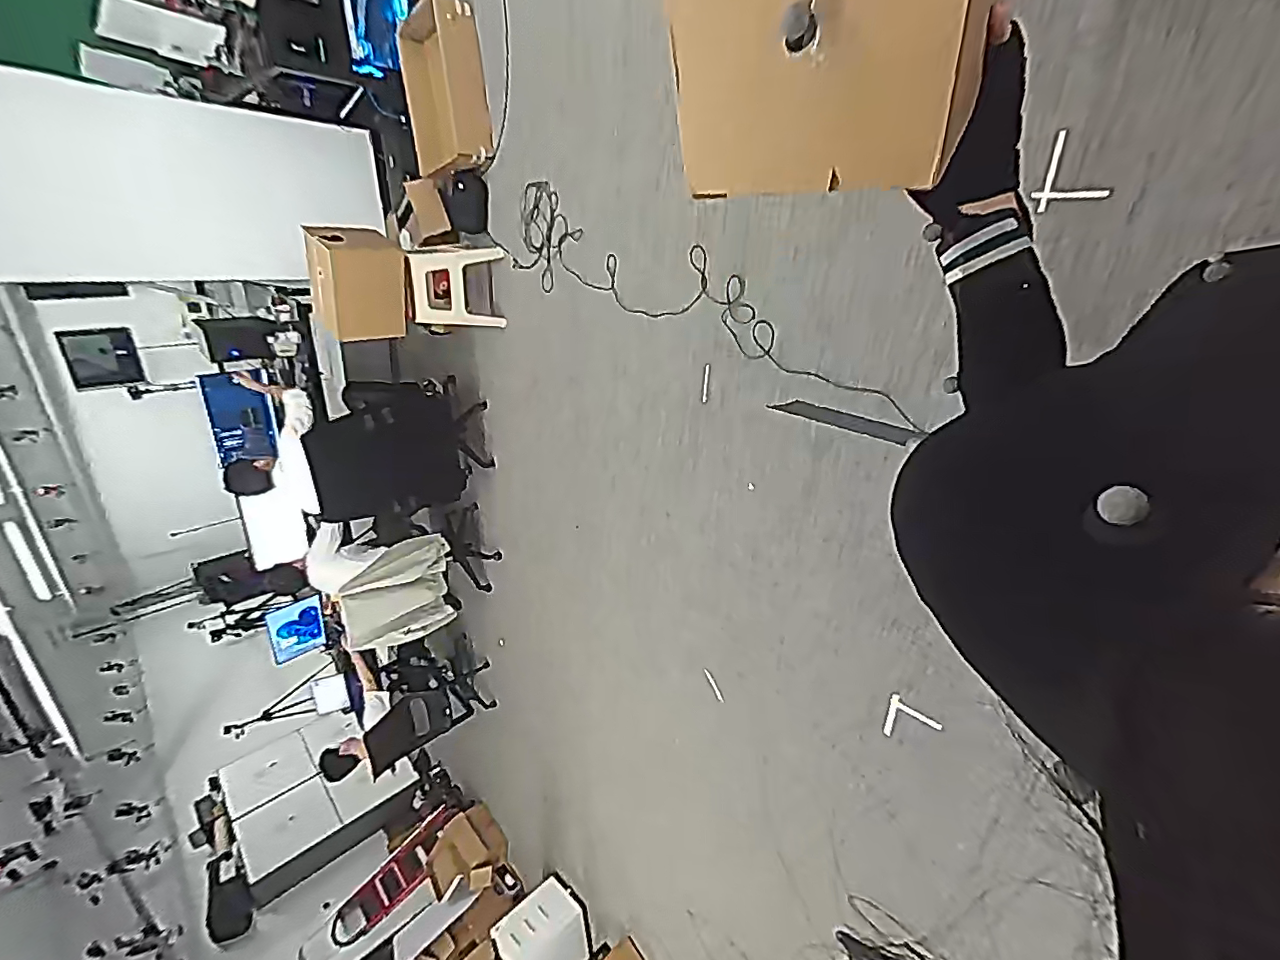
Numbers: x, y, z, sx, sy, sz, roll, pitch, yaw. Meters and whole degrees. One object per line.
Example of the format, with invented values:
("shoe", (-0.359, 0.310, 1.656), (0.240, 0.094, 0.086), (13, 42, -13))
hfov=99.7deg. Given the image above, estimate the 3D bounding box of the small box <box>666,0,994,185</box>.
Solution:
("small box", (0.121, -0.306, 0.333), (0.168, 0.179, 0.176), (15, 141, 28))
